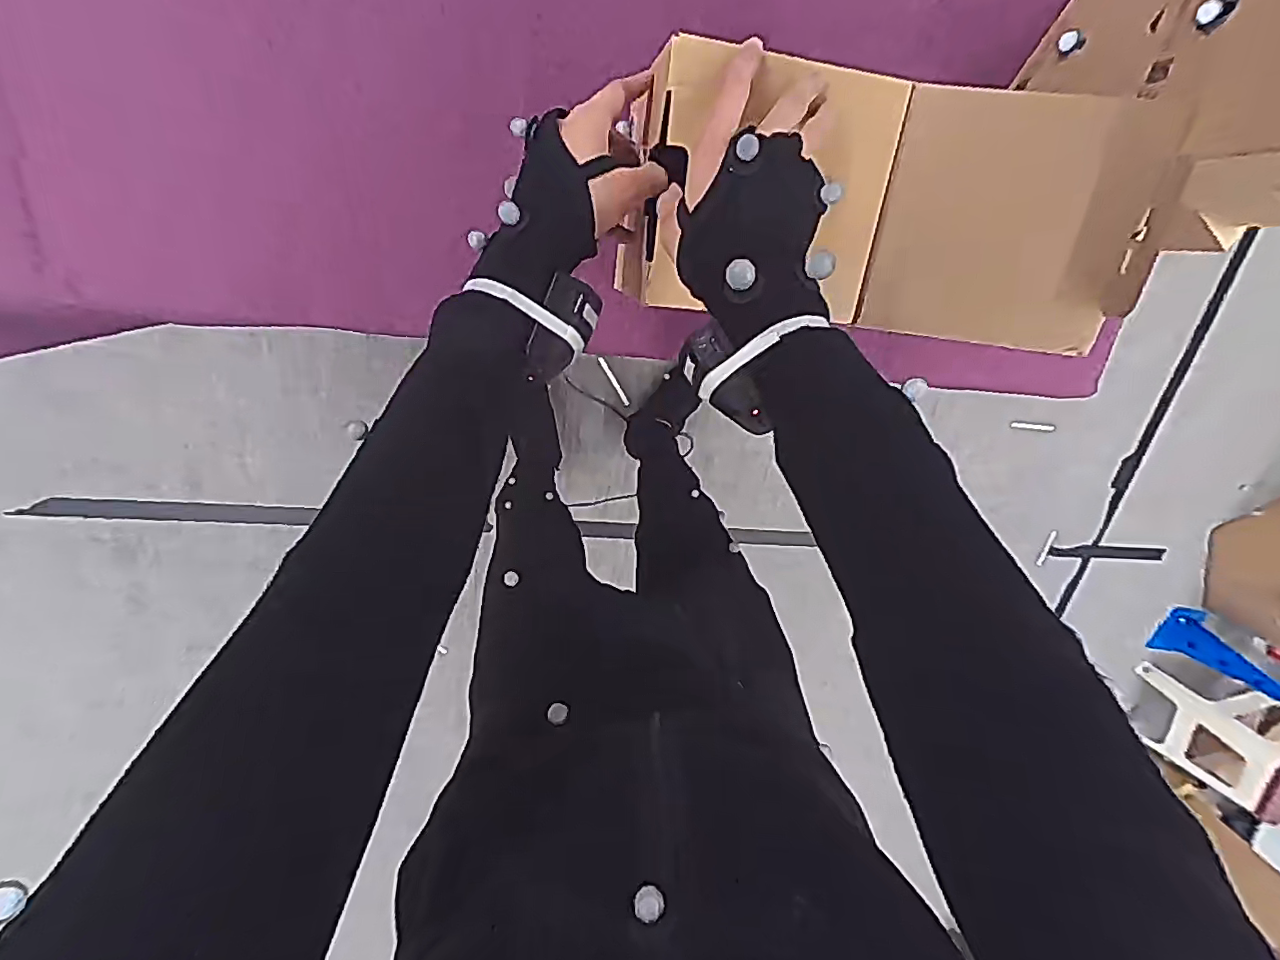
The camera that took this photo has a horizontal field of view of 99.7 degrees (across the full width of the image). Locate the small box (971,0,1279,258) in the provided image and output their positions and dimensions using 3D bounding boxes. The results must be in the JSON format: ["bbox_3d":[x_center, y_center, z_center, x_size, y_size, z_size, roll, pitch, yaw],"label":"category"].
[{"bbox_3d":[0.456,-0.326,0.485,0.179,0.176,0.168,28,106,-21],"label":"small box"}]
